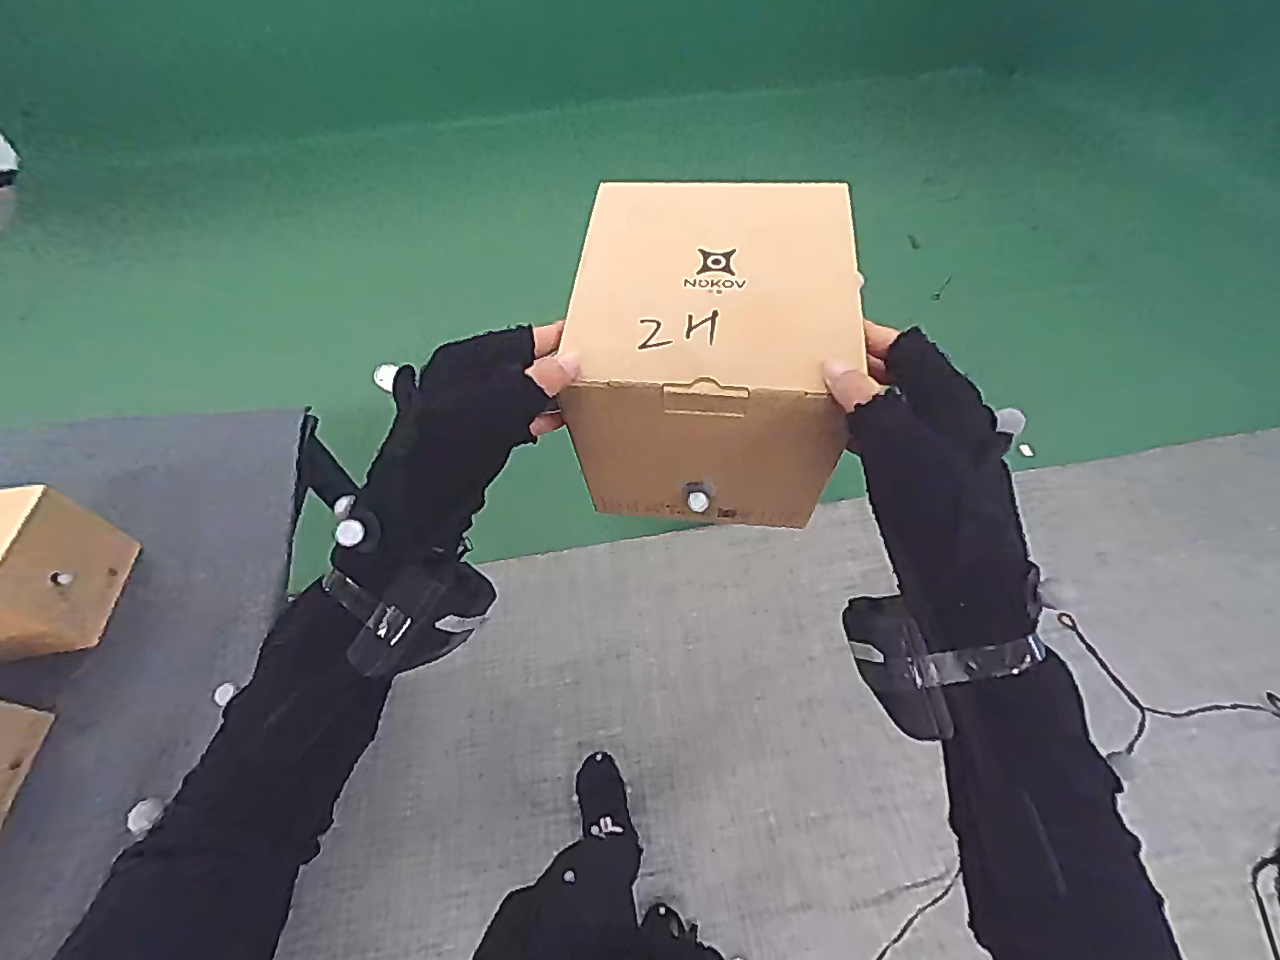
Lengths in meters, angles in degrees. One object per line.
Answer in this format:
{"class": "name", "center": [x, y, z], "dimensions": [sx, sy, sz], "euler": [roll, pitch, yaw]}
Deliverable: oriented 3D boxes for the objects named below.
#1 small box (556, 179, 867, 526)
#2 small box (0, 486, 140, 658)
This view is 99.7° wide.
{"class": "small box", "center": [0.050, -0.085, 0.390], "dimensions": [0.168, 0.176, 0.179], "euler": [4, 62, 8]}
{"class": "small box", "center": [-0.847, 0.130, 0.728], "dimensions": [0.179, 0.176, 0.168], "euler": [-8, 55, -2]}
